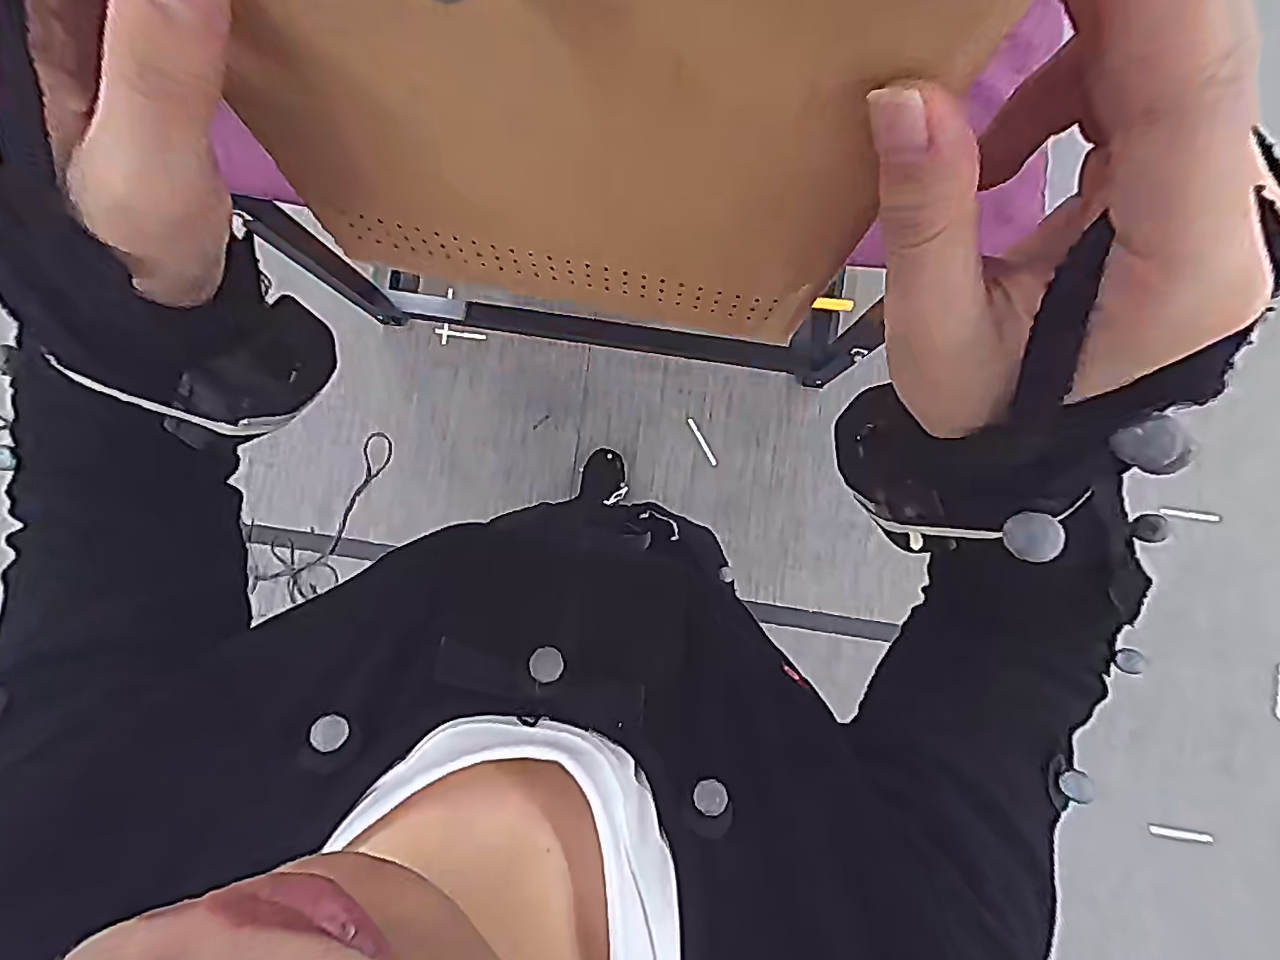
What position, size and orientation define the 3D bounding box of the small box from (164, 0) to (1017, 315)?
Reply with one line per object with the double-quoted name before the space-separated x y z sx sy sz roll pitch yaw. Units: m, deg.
"small box" -0.007 -0.163 0.138 0.179 0.176 0.168 11 79 0
